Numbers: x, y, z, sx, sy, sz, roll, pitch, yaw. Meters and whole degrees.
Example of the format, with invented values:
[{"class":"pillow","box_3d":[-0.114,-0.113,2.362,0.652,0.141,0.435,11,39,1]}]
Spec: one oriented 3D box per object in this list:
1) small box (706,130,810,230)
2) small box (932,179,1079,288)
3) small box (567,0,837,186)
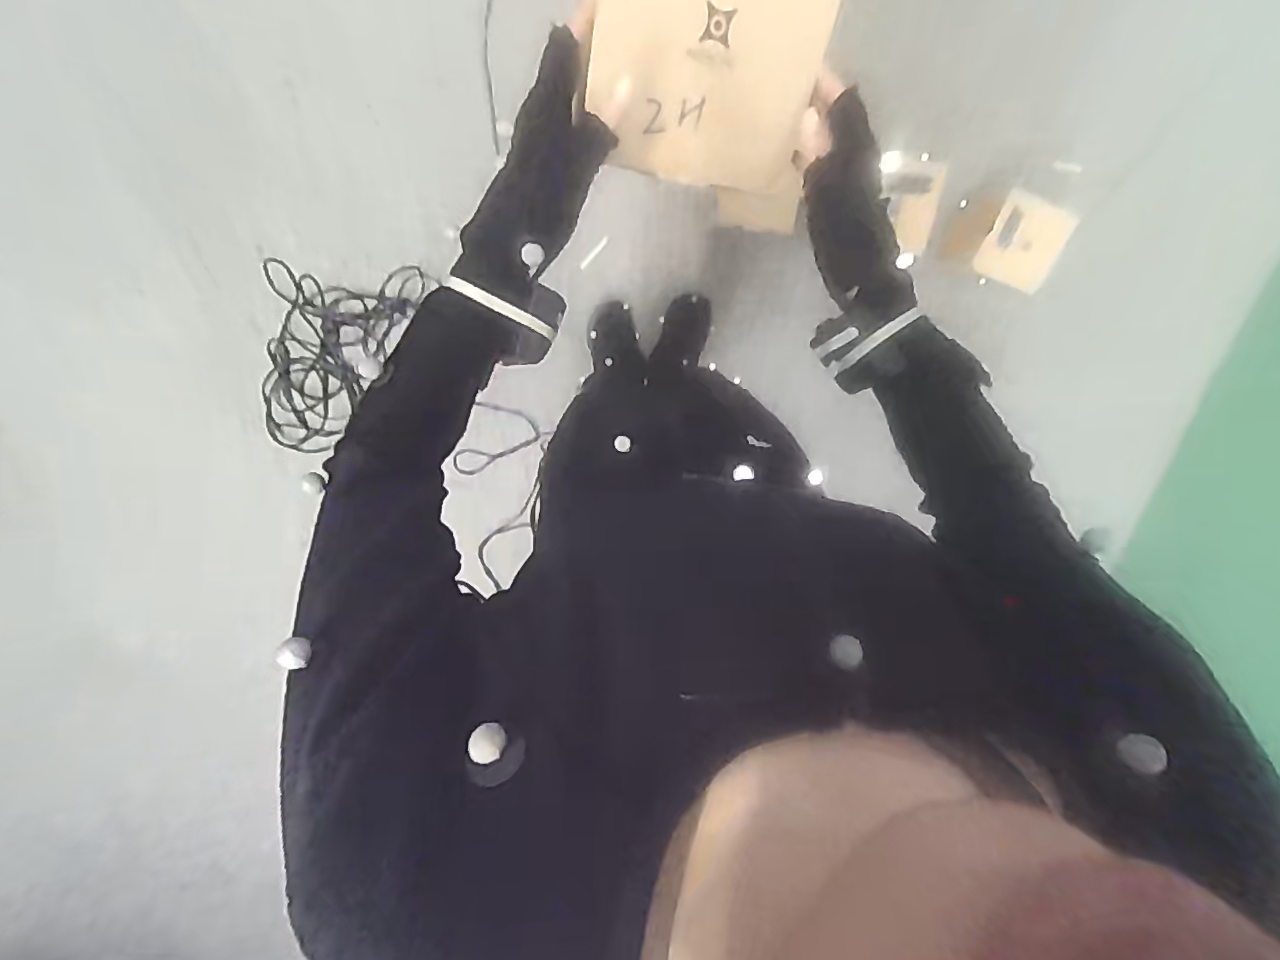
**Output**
[{"class":"small box","box_3d":[0.241,-0.640,1.155,0.168,0.176,0.179,5,114,-3]},{"class":"small box","box_3d":[0.801,-0.546,1.209,0.179,0.176,0.168,17,113,-10]},{"class":"small box","box_3d":[0.036,-0.358,0.425,0.168,0.176,0.179,4,128,-14]}]
